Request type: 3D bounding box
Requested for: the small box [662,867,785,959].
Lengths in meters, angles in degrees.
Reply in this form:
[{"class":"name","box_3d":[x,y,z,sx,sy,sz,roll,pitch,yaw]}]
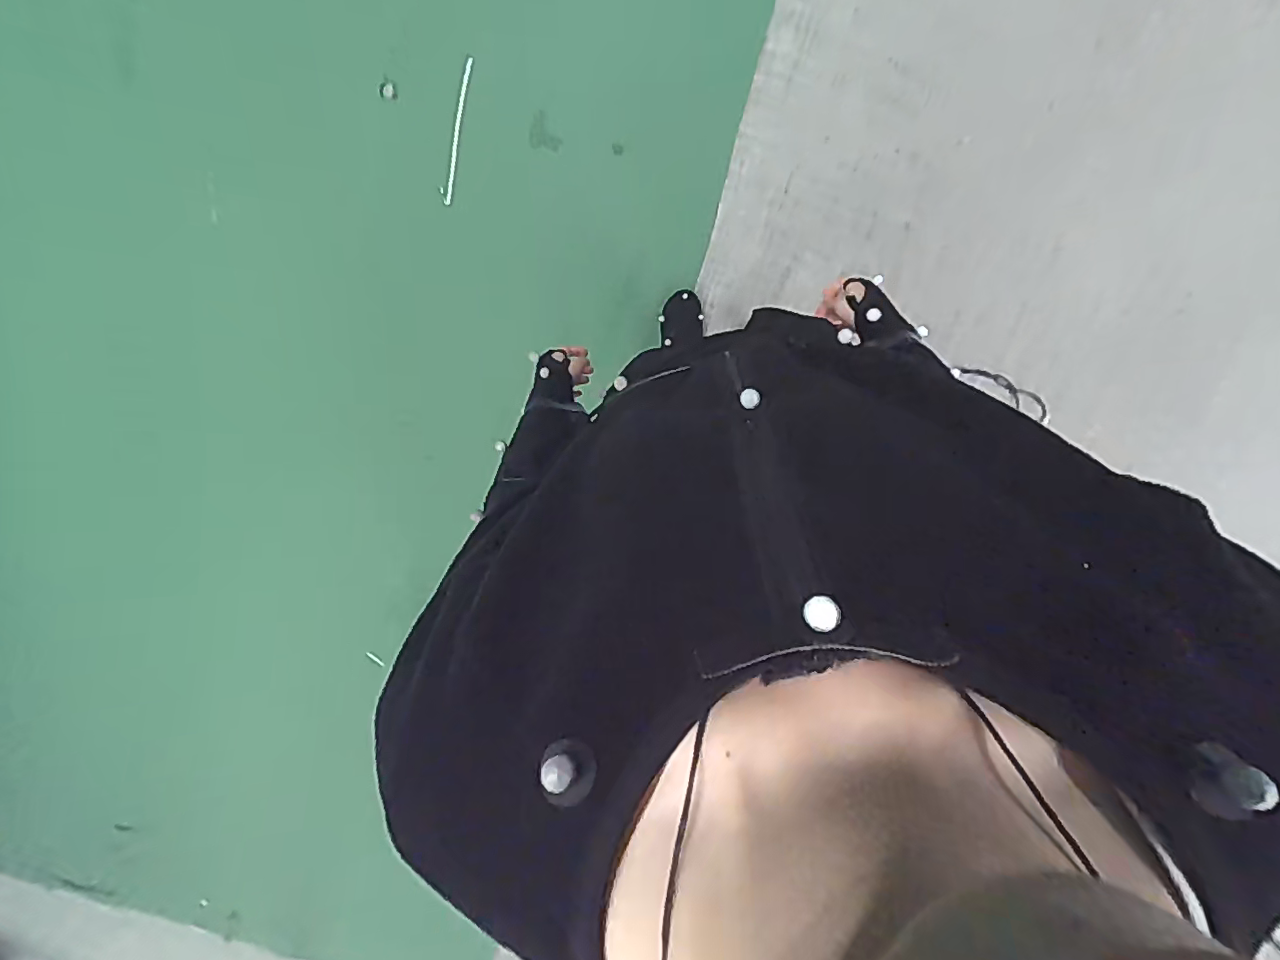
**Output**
[{"class":"small box","box_3d":[0.139,0.827,0.949,0.179,0.176,0.168,16,110,-1]}]
